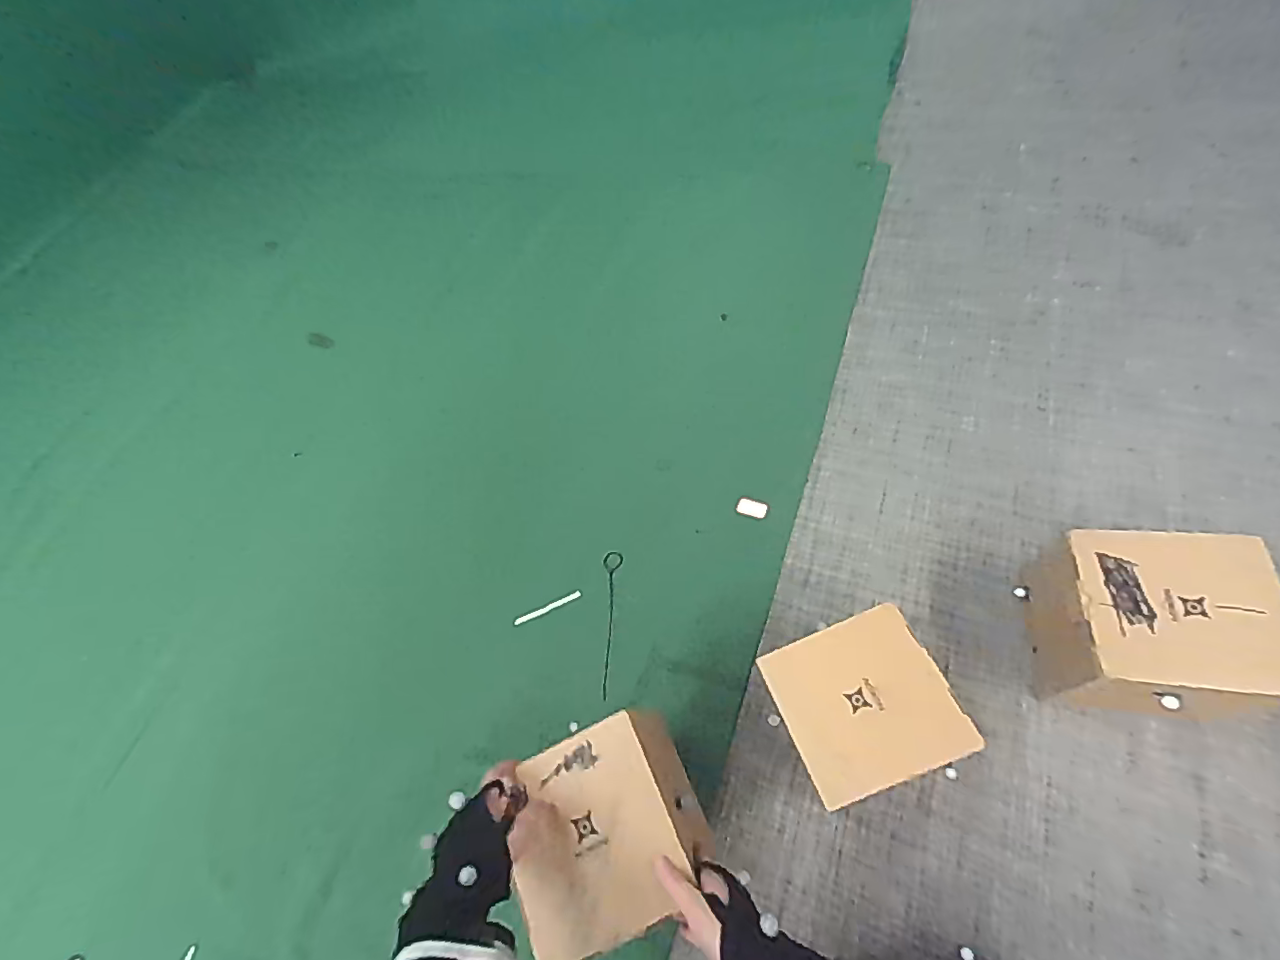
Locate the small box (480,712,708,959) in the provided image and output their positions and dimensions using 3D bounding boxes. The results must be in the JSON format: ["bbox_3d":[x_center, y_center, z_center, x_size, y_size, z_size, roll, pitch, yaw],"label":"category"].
[{"bbox_3d":[-0.039,0.369,0.582,0.168,0.176,0.179,-27,65,1],"label":"small box"}]

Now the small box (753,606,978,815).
[{"bbox_3d":[0.255,0.283,0.650,0.179,0.176,0.168,-24,56,1],"label":"small box"}]
